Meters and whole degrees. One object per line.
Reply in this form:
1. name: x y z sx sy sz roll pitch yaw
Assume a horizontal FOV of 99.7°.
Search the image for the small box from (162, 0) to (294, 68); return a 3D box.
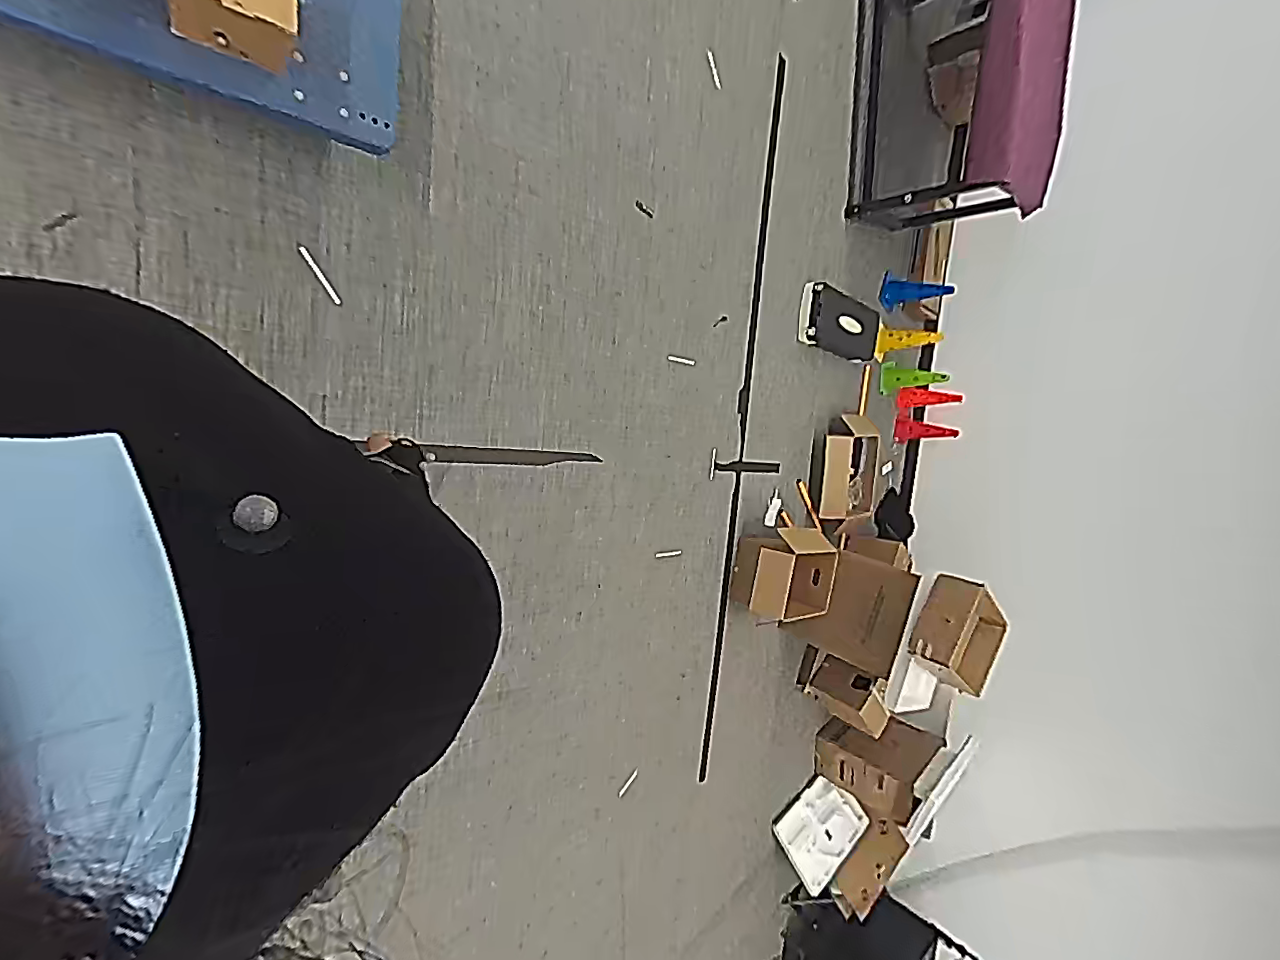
1. small box: -0.696 -0.852 0.909 0.168 0.176 0.179 -3 101 -43
